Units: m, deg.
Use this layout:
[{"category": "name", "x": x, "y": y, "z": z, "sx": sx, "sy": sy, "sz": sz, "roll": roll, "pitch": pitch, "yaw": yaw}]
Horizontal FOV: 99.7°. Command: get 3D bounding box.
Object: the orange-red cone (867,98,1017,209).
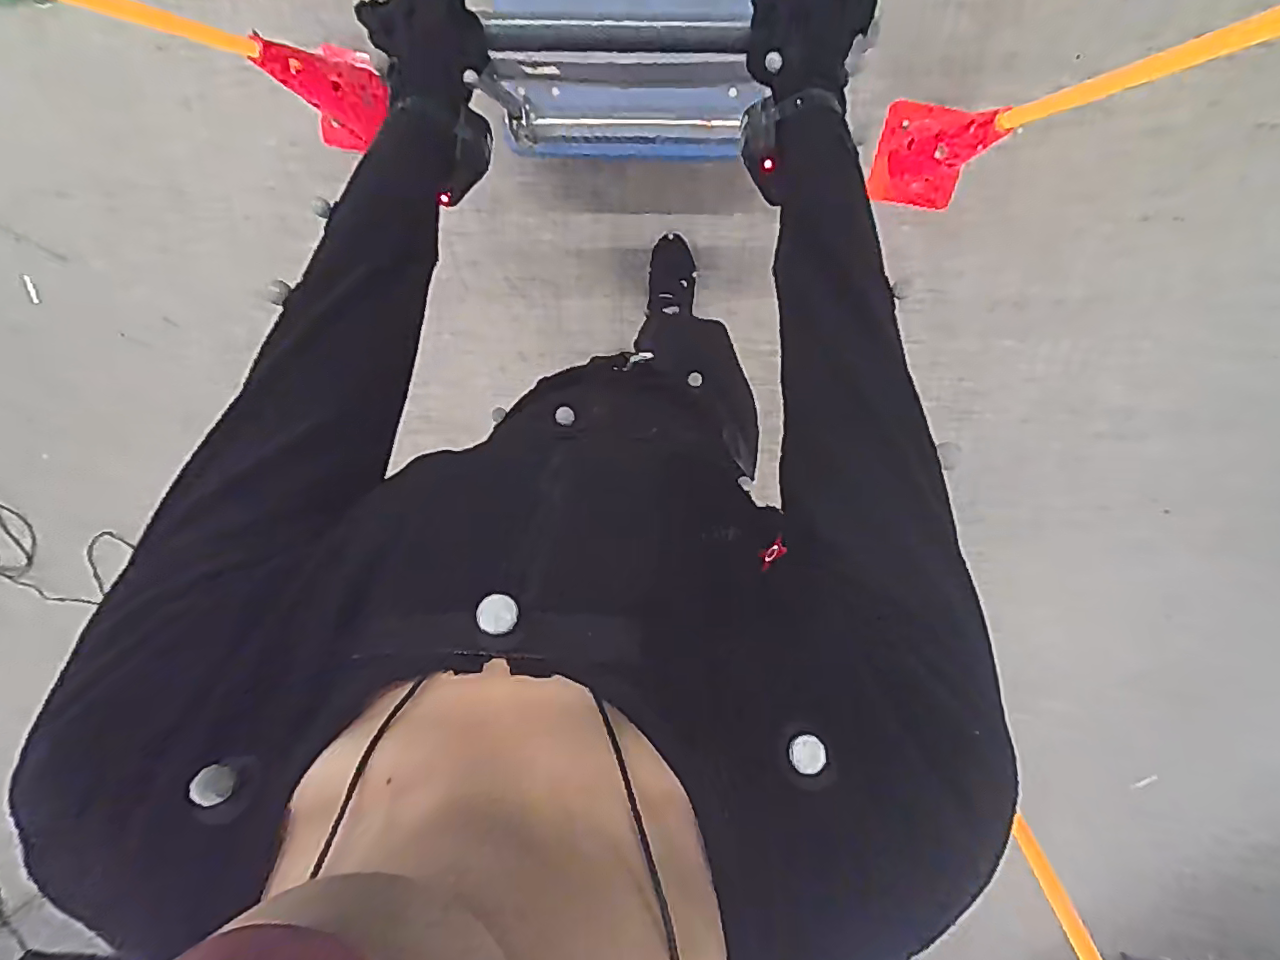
[{"category": "orange-red cone", "x": 0.627, "y": -0.674, "z": 1.070, "sx": 0.198, "sy": 0.360, "sz": 0.199, "roll": 11, "pitch": 113, "yaw": -1}]
